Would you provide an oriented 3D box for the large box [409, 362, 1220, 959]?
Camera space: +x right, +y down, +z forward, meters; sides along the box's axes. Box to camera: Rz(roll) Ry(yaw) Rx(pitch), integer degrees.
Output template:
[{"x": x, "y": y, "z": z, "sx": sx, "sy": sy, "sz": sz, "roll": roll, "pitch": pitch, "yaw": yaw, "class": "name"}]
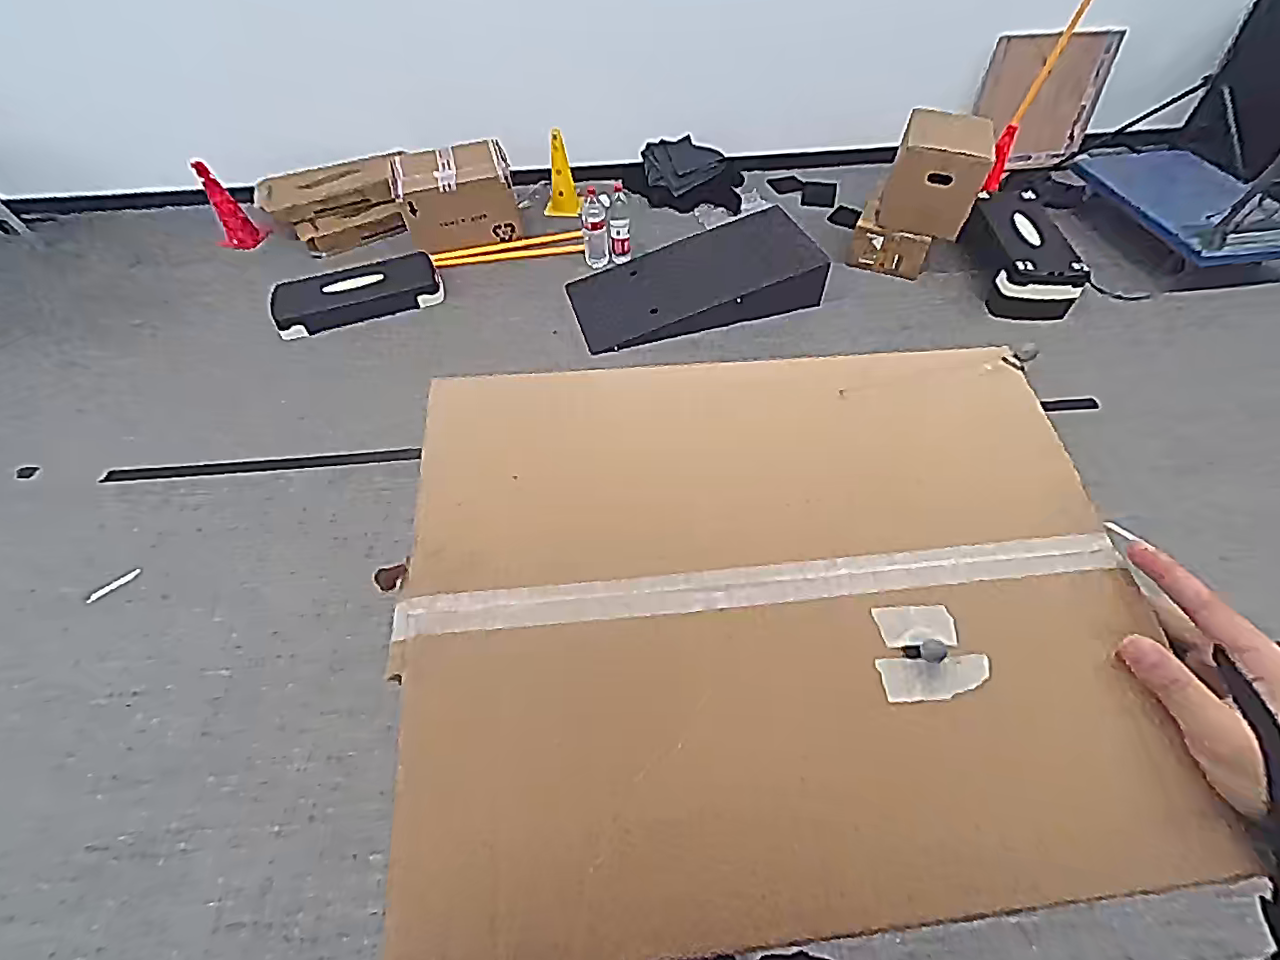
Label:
[{"x": 0.069, "y": 0.132, "z": 0.447, "sx": 0.408, "sy": 0.320, "sz": 0.320, "roll": -4, "pitch": 64, "yaw": -6, "class": "large box"}]
